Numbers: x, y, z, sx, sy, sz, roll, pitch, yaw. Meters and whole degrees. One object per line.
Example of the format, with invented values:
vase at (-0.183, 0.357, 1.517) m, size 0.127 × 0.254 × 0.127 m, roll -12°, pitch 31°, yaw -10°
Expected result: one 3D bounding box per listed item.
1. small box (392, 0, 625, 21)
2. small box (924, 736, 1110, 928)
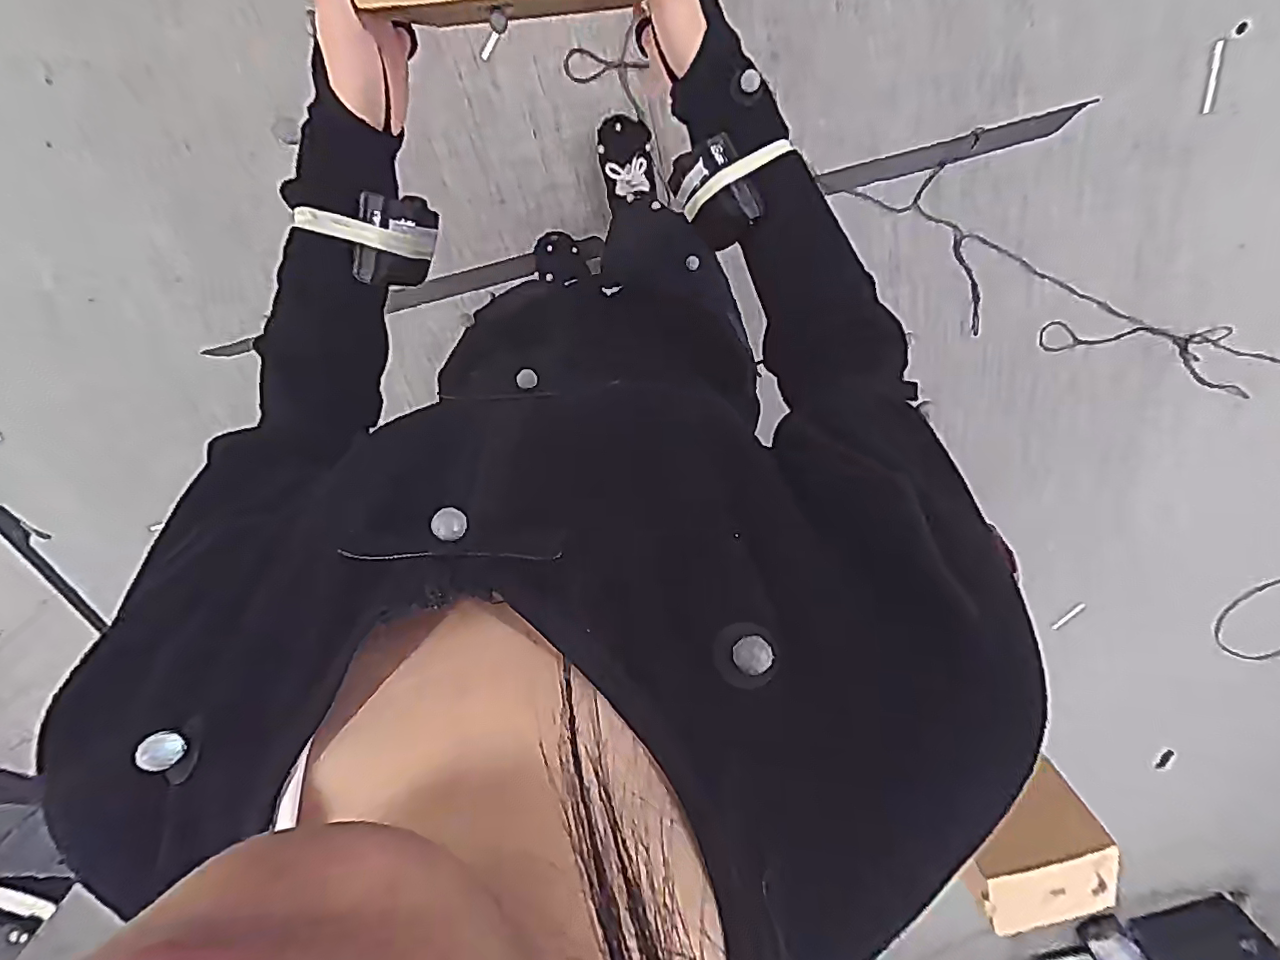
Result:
small box at (-0.087, -0.396, 0.328) m, size 0.179 × 0.176 × 0.168 m, roll -5°, pitch 128°, yaw 0°
small box at (0.555, 0.528, 0.821) m, size 0.179 × 0.176 × 0.168 m, roll -19°, pitch 117°, yaw 6°
